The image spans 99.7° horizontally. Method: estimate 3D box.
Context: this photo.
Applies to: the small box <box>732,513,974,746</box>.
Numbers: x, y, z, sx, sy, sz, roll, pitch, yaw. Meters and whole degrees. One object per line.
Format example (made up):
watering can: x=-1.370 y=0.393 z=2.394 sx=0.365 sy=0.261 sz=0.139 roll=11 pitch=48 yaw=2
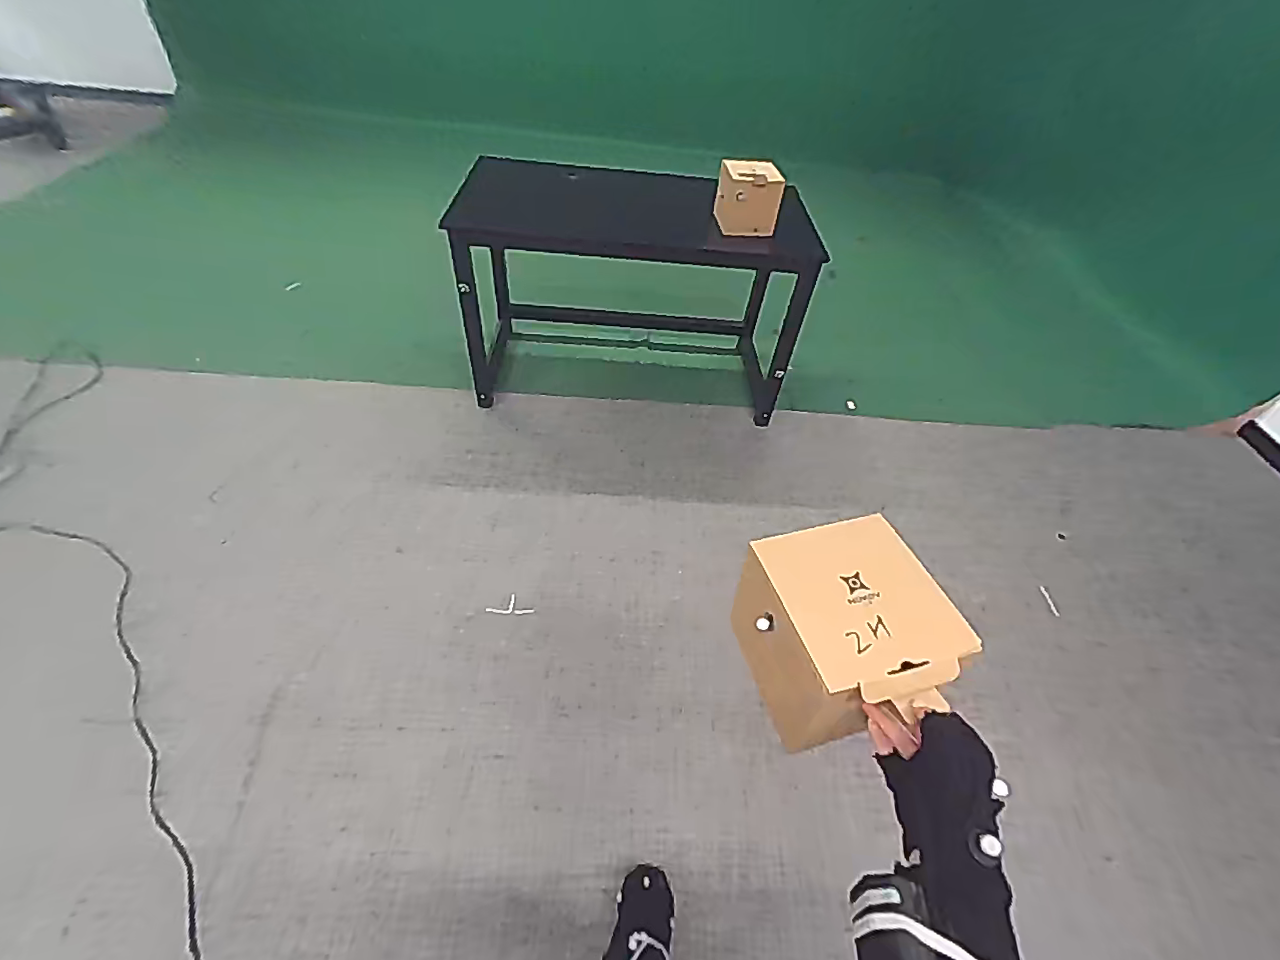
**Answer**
small box: x=0.217 y=0.167 z=0.610 sx=0.168 sy=0.176 sz=0.179 roll=-11 pitch=47 yaw=-11
